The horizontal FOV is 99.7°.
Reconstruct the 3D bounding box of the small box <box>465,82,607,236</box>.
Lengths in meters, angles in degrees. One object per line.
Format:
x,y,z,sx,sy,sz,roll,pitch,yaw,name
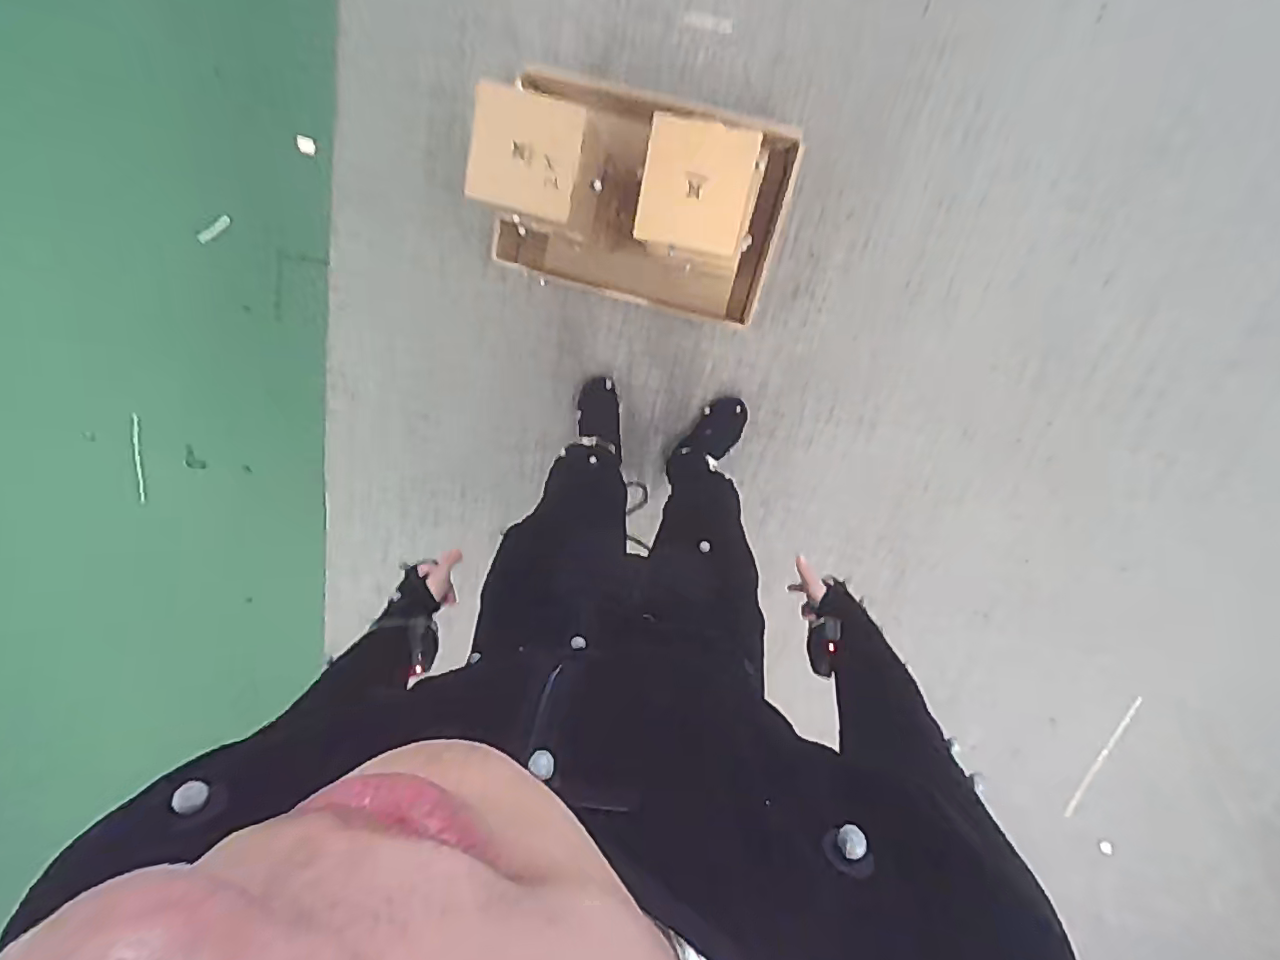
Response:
-0.168,-0.526,0.912,0.179,0.176,0.168,16,109,1,small box

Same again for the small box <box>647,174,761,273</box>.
0.125,-0.506,1.054,0.179,0.176,0.168,14,111,4,small box

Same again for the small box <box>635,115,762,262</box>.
0.099,-0.470,0.898,0.168,0.176,0.179,14,110,5,small box
